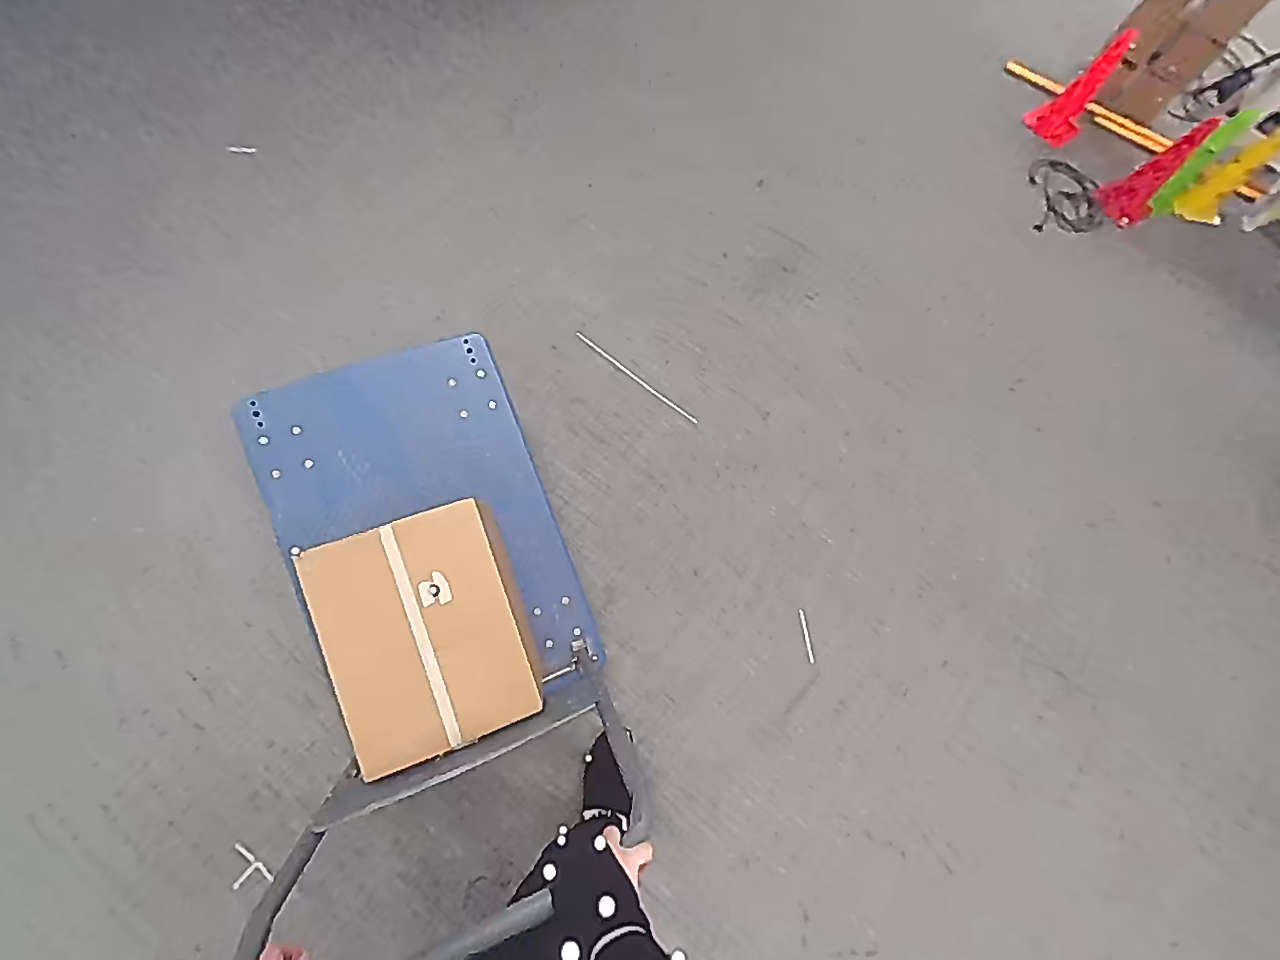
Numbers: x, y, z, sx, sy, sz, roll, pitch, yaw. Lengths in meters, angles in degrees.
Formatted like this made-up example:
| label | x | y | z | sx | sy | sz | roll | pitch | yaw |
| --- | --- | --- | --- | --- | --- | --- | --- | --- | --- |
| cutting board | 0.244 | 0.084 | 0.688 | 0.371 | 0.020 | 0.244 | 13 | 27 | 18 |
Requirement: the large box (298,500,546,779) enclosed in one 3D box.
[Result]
| label | x | y | z | sx | sy | sz | roll | pitch | yaw |
| --- | --- | --- | --- | --- | --- | --- | --- | --- | --- |
| large box | -0.400 | 0.287 | 1.087 | 0.320 | 0.320 | 0.408 | -19 | 87 | -12 |
